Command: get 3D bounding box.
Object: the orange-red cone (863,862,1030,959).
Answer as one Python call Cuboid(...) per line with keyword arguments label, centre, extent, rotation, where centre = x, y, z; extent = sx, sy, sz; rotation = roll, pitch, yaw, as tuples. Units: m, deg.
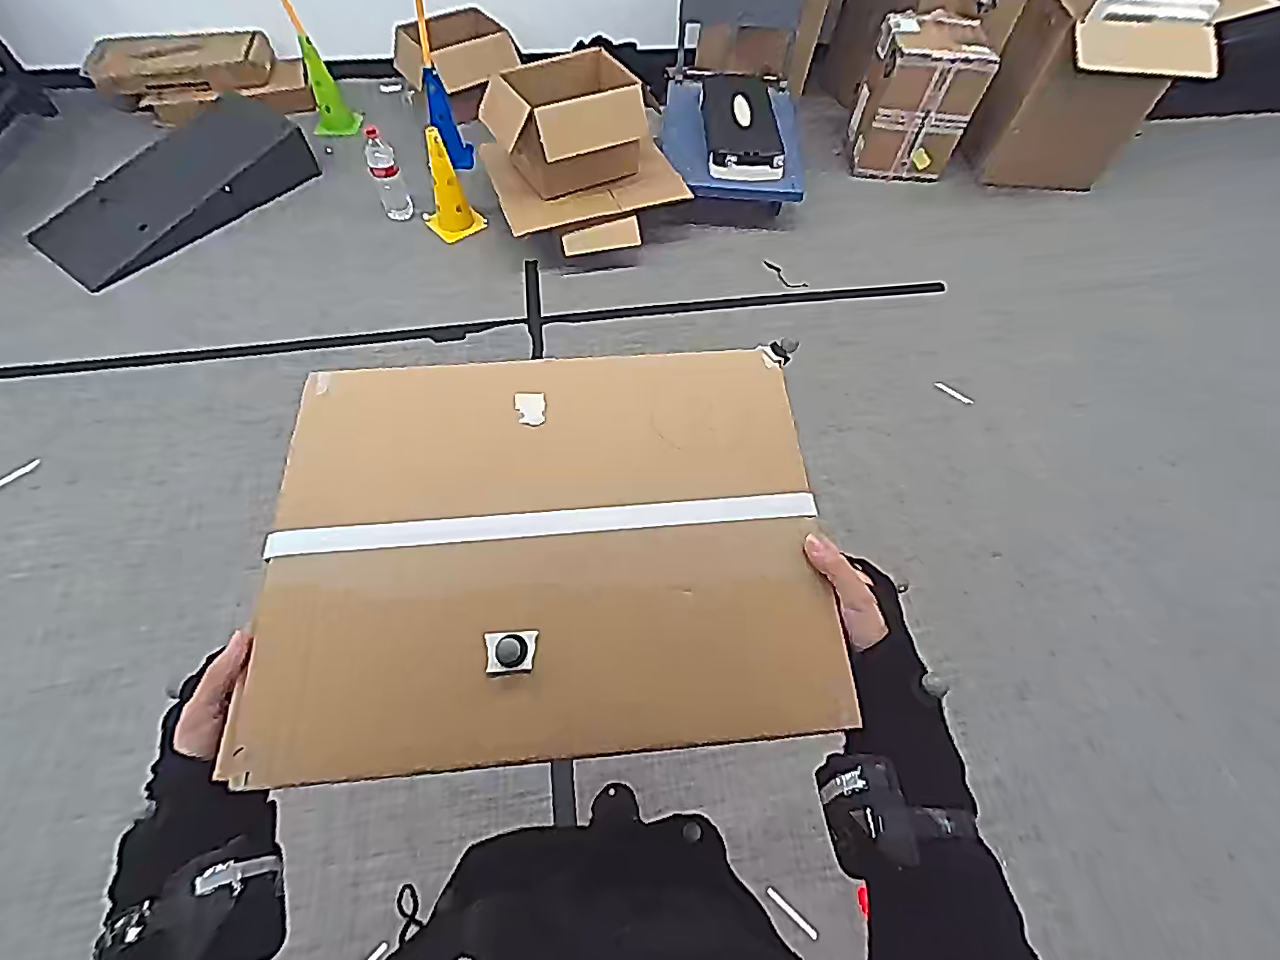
Cuboid(label="orange-red cone", centre=(0.577, 0.818, 0.936), extent=(0.199, 0.360, 0.198), rotation=(-14, 61, -11))
